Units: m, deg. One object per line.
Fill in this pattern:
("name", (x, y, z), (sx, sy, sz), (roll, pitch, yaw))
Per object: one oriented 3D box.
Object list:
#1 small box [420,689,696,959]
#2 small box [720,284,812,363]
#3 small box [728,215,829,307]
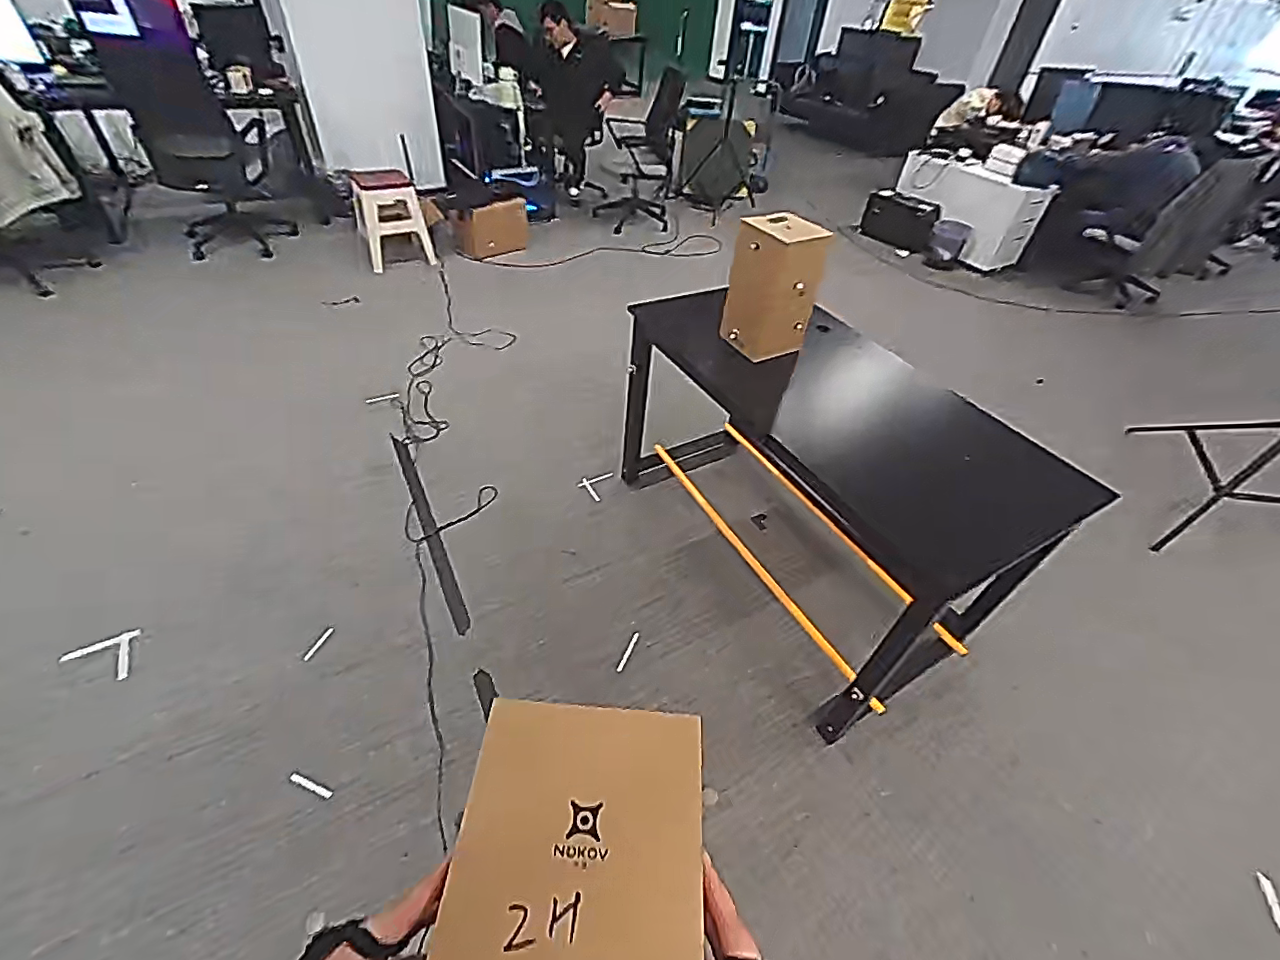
("small box", (-0.047, 0.292, 0.427), (0.168, 0.176, 0.179), (4, 45, 1))
("small box", (0.349, -0.456, 1.533), (0.179, 0.176, 0.168), (-21, 49, -25))
("small box", (0.355, -0.575, 1.419), (0.168, 0.176, 0.179), (-22, 50, -26))
